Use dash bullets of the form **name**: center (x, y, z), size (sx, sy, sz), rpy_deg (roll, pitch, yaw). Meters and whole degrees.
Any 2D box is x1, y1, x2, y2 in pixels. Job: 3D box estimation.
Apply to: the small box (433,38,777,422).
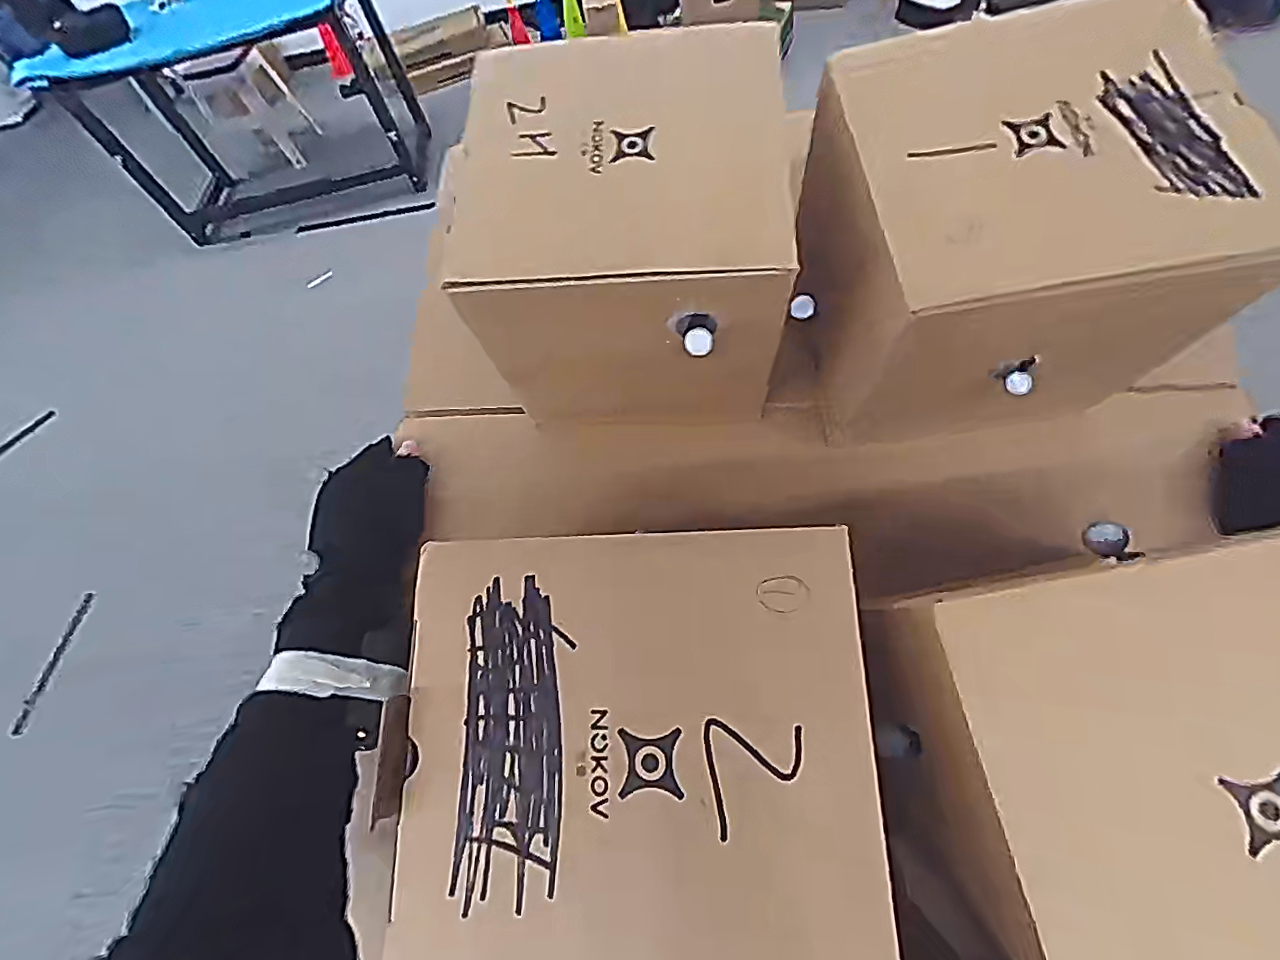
- **small box**: center (-0.009, -0.147, 0.367), size (0.179, 0.176, 0.168), rpy_deg (-1, 71, 7)
